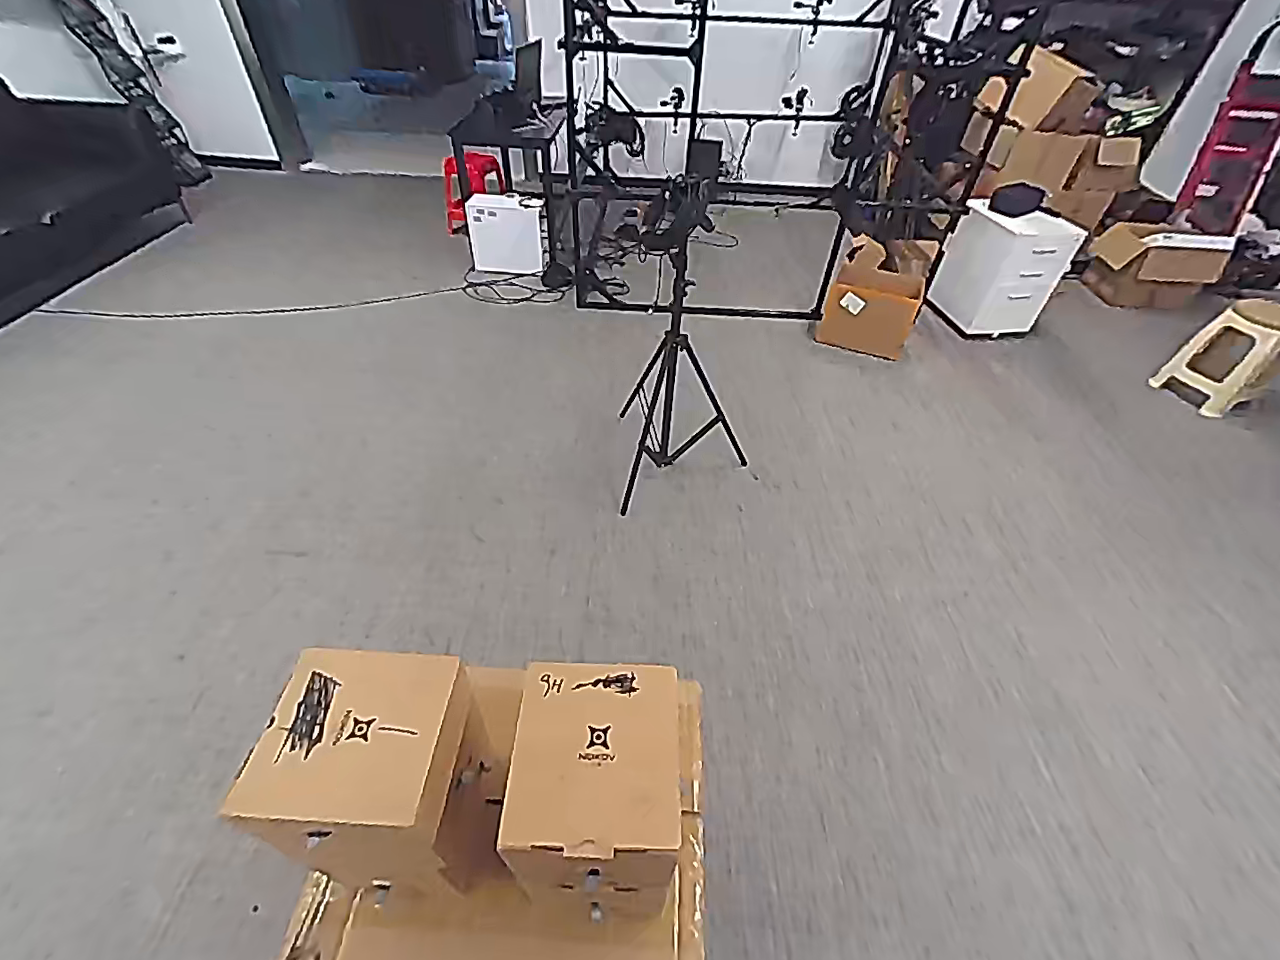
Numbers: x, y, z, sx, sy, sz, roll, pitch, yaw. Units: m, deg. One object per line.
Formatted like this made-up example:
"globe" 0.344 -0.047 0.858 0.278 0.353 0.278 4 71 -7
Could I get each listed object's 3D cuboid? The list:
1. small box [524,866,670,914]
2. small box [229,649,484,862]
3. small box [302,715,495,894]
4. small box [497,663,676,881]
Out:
"small box" -0.046 0.441 0.709 0.168 0.176 0.179 2 44 2
"small box" -0.289 0.308 0.602 0.179 0.176 0.168 3 44 -1
"small box" -0.298 0.424 0.718 0.168 0.176 0.179 3 45 0
"small box" -0.045 0.323 0.596 0.168 0.176 0.179 1 45 1
